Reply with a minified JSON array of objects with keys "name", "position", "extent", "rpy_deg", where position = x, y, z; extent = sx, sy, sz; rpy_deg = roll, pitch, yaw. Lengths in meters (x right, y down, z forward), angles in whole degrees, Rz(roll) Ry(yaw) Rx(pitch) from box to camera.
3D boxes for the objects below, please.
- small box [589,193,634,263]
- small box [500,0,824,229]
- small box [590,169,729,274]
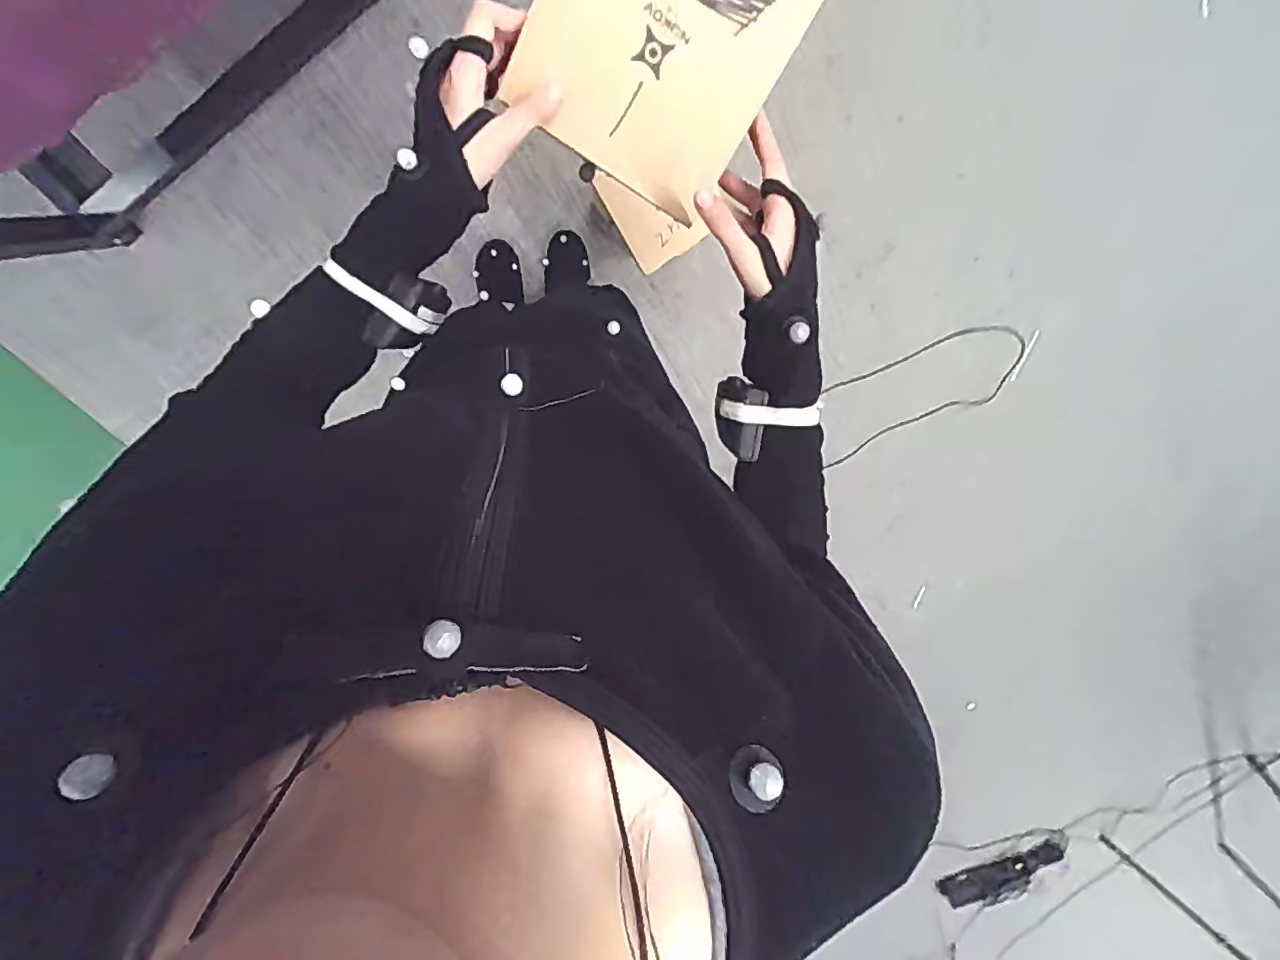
[{"name":"small box","position":[0.002,-0.617,1.217],"extent":[0.179,0.176,0.168],"rpy_deg":[-36,115,12]},{"name":"small box","position":[0.007,-0.336,0.434],"extent":[0.168,0.176,0.179],"rpy_deg":[26,116,-18]},{"name":"small box","position":[0.026,-0.477,0.919],"extent":[0.168,0.176,0.179],"rpy_deg":[-29,116,10]}]
